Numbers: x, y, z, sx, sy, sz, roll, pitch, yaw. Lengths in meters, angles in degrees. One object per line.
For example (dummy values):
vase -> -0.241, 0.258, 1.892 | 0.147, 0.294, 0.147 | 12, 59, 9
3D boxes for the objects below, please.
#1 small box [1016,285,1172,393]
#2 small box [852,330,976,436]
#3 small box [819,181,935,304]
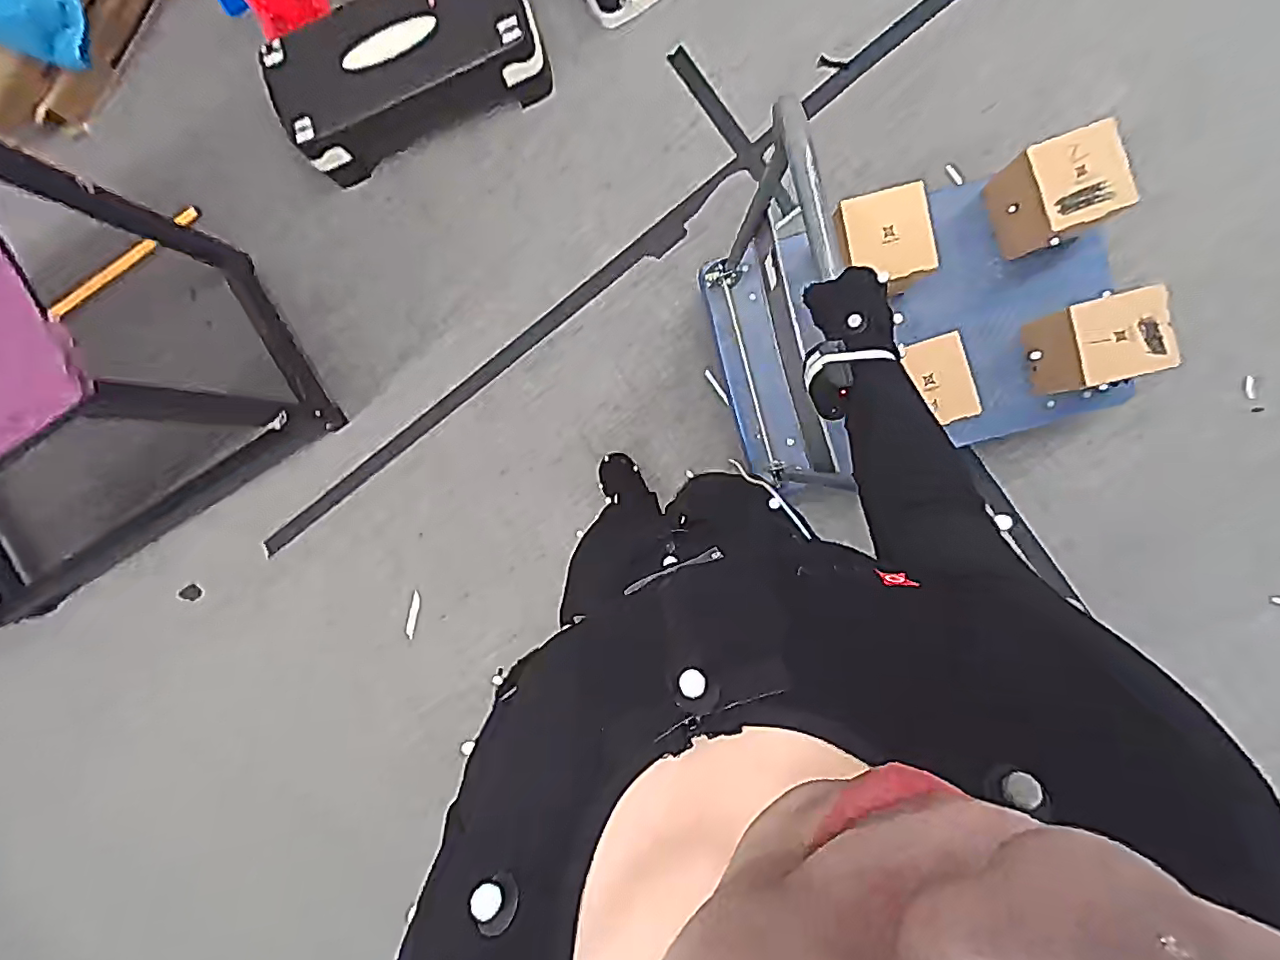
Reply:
small box -> 0.943, -0.288, 1.137 | 0.179, 0.176, 0.168 | -13, 92, 6
small box -> 0.580, -0.201, 1.170 | 0.168, 0.176, 0.179 | -17, 92, 5
small box -> 0.498, -0.499, 1.161 | 0.168, 0.176, 0.179 | -13, 93, 4
